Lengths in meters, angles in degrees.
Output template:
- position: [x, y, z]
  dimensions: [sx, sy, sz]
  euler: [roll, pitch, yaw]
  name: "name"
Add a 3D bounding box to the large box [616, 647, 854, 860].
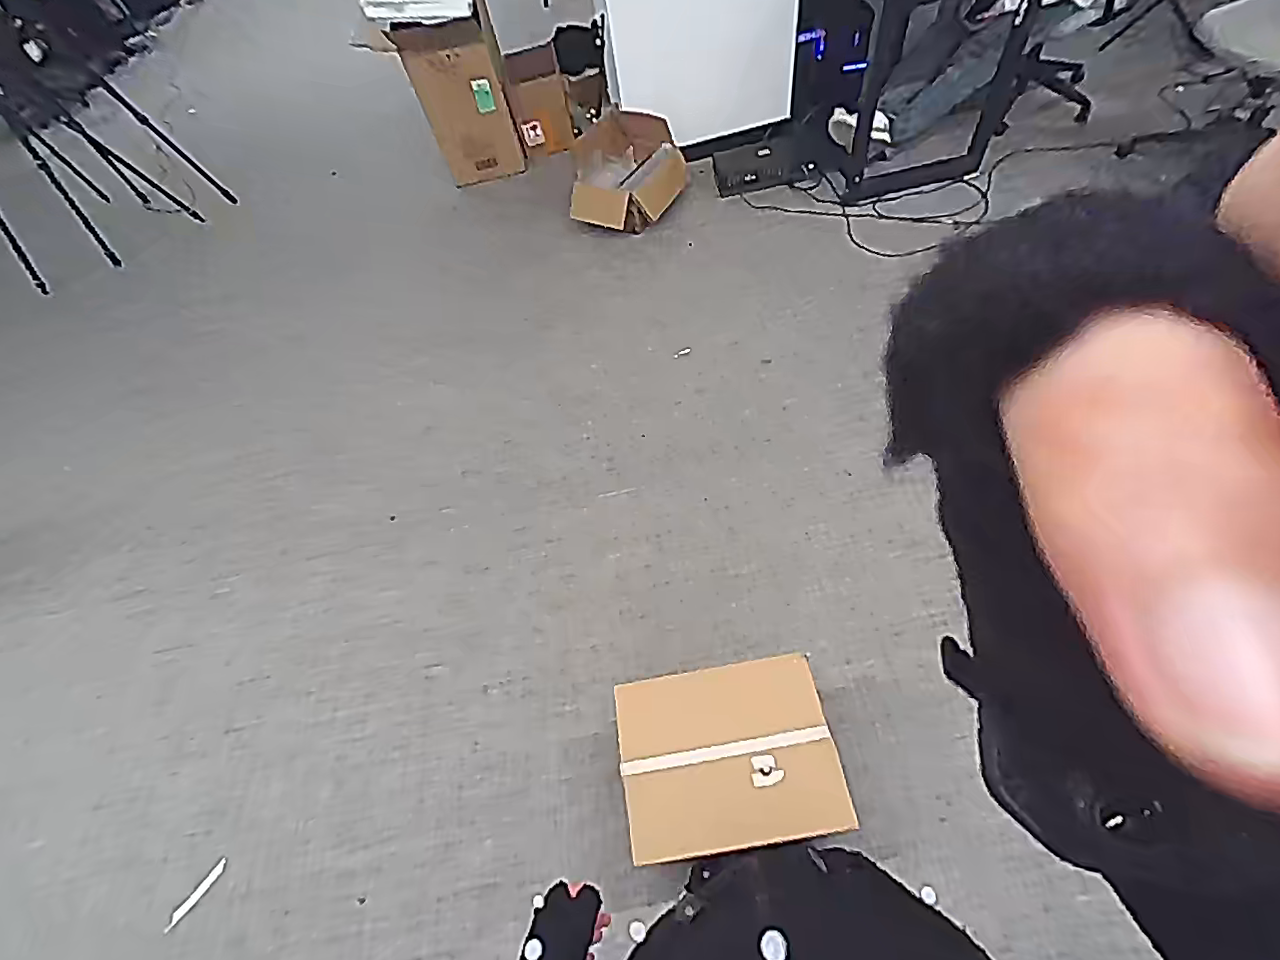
- position: [0.184, 0.593, 1.166]
  dimensions: [0.408, 0.320, 0.320]
  euler: [-11, 57, 2]
  name: "large box"
